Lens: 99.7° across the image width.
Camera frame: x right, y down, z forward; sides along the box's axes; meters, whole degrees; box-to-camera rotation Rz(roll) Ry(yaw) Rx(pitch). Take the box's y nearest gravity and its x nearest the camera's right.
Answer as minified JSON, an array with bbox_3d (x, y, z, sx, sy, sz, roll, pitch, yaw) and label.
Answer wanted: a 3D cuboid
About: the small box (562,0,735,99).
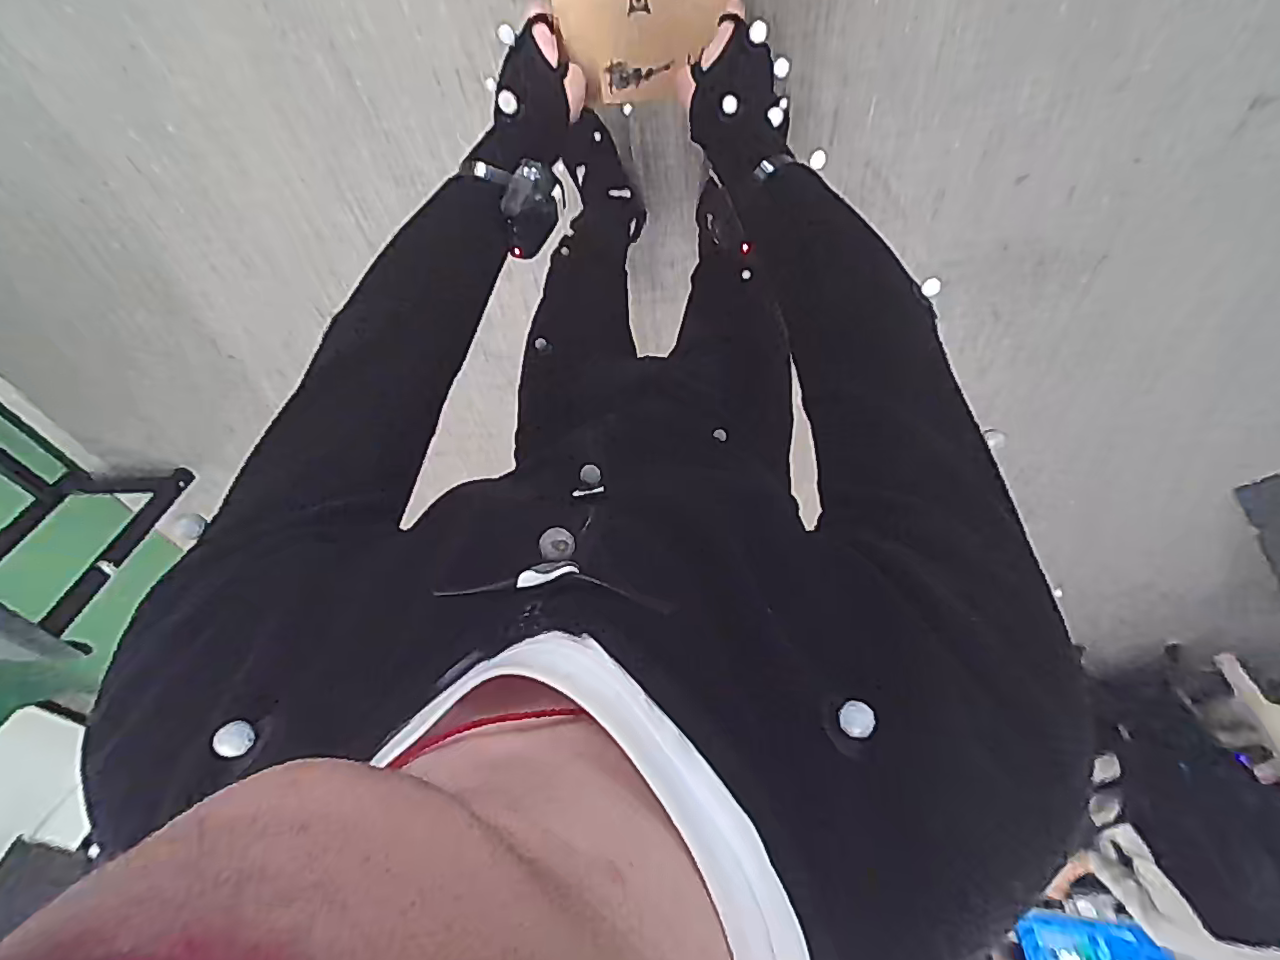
[{"bbox_3d":[0.005,-0.511,0.553,0.168,0.176,0.179,-3,132,2],"label":"small box"}]
